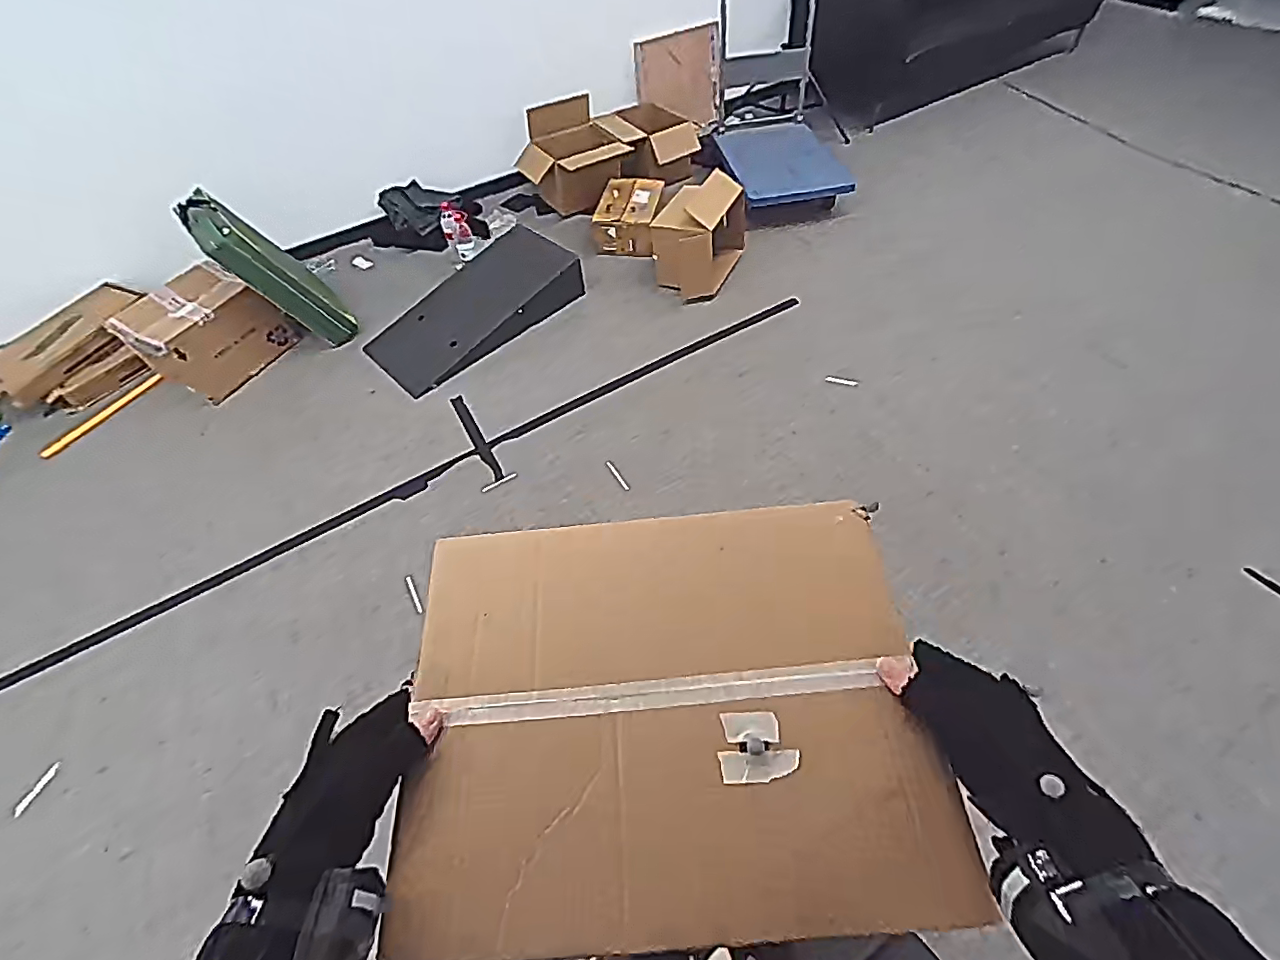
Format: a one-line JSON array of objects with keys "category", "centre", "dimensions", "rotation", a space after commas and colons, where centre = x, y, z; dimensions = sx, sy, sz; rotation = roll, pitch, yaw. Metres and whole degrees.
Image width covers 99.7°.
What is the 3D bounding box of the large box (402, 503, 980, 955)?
[{"category": "large box", "centre": [0.031, 0.251, 0.568], "dimensions": [0.408, 0.320, 0.320], "rotation": [-6, 58, 1]}]
